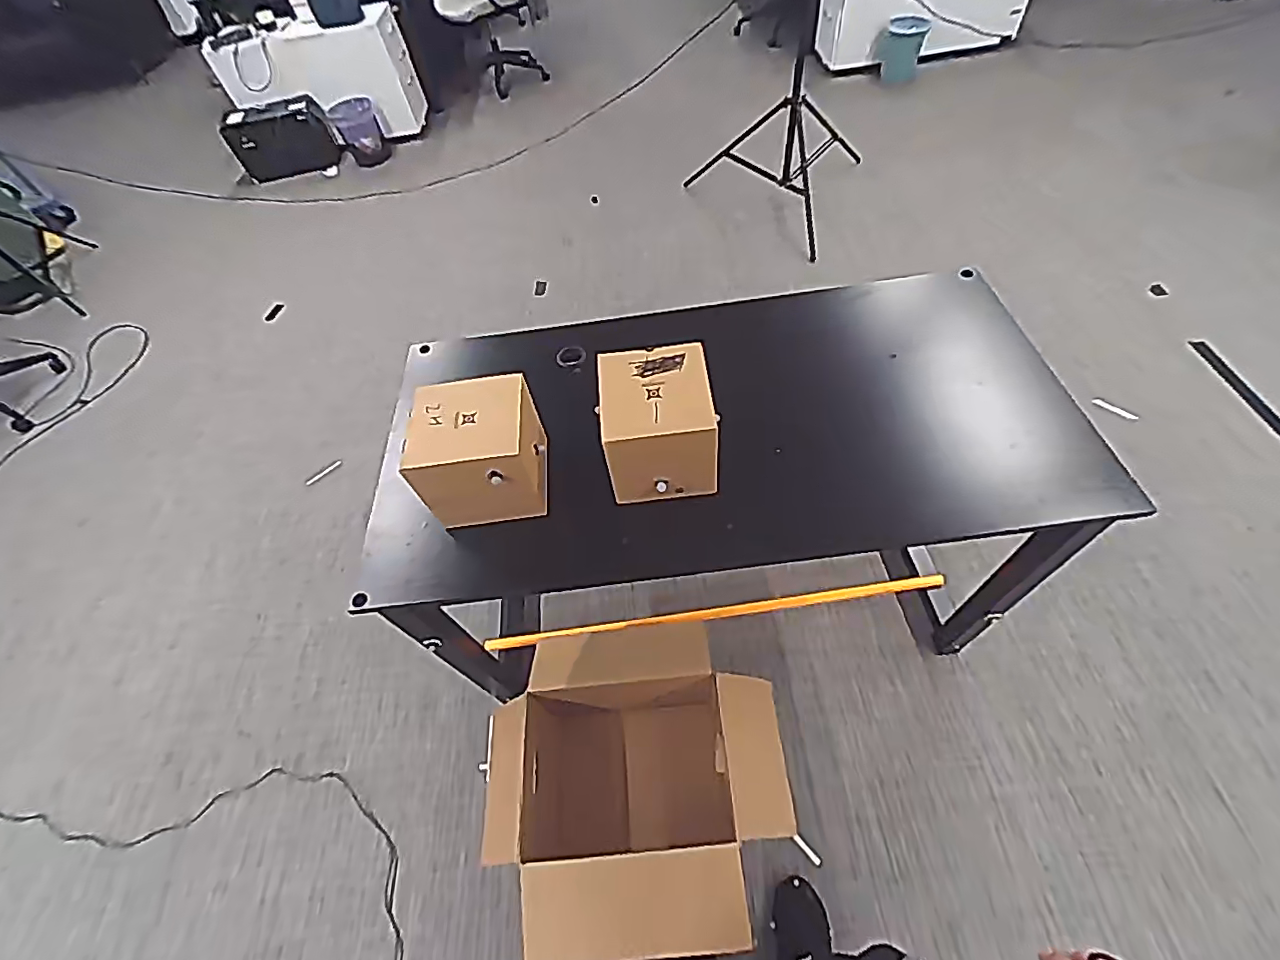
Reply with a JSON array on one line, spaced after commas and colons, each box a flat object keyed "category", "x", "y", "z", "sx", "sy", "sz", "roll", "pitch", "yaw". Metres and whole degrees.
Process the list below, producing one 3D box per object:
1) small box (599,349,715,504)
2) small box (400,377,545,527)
[{"category": "small box", "x": 0.027, "y": -0.082, "z": 0.871, "sx": 0.168, "sy": 0.176, "sz": 0.179, "roll": -7, "pitch": 55, "yaw": 3}, {"category": "small box", "x": -0.255, "y": -0.040, "z": 0.875, "sx": 0.179, "sy": 0.176, "sz": 0.168, "roll": -8, "pitch": 54, "yaw": 1}]
